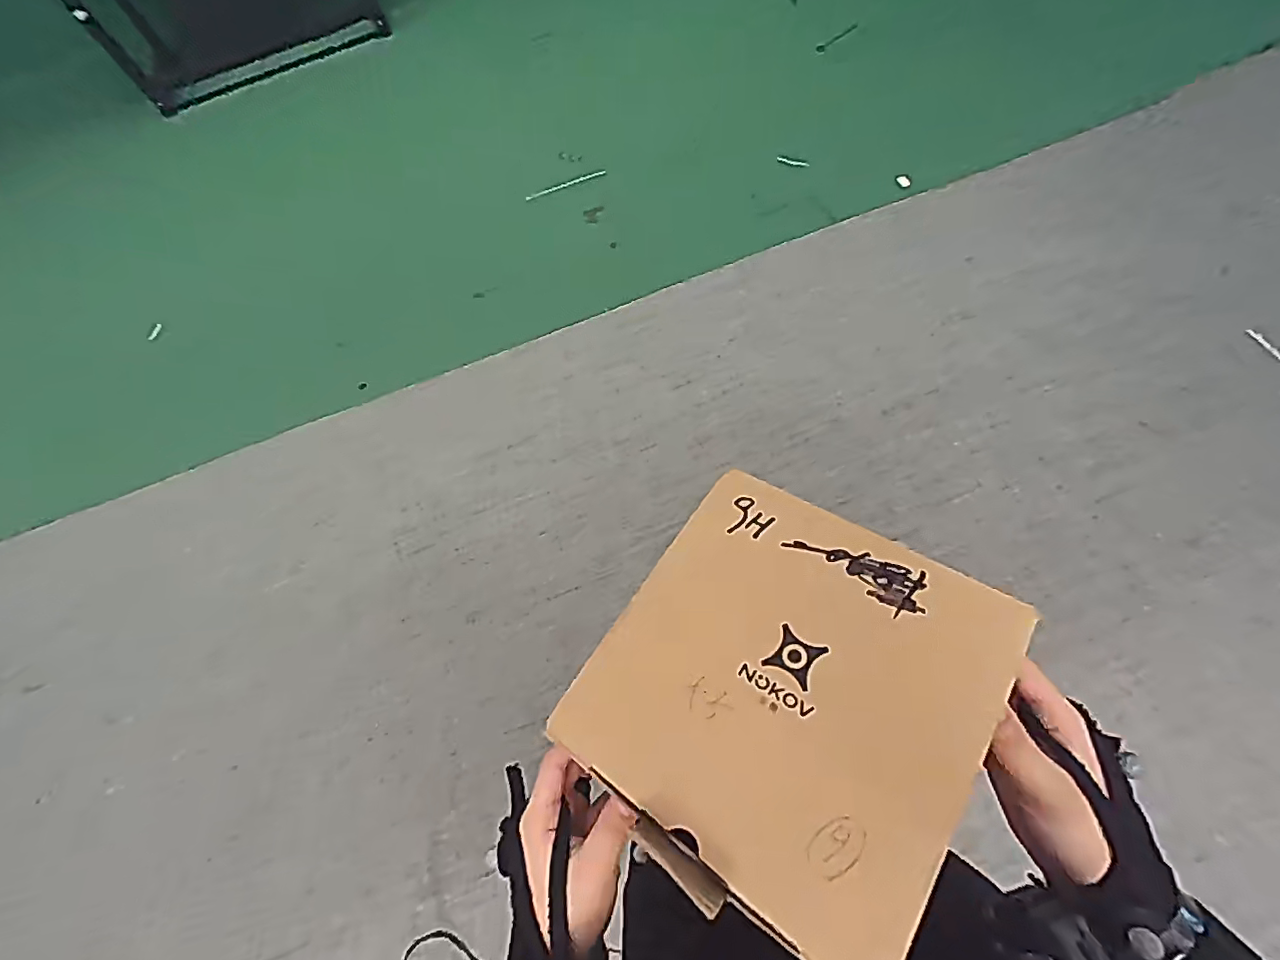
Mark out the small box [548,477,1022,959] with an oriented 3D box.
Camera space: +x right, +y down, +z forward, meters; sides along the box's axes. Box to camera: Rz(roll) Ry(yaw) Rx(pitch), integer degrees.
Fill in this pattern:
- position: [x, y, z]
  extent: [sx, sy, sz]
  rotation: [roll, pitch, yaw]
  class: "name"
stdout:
- position: [0.082, 0.137, 0.326]
  extent: [0.168, 0.176, 0.179]
  rotation: [28, 68, 27]
  class: "small box"
